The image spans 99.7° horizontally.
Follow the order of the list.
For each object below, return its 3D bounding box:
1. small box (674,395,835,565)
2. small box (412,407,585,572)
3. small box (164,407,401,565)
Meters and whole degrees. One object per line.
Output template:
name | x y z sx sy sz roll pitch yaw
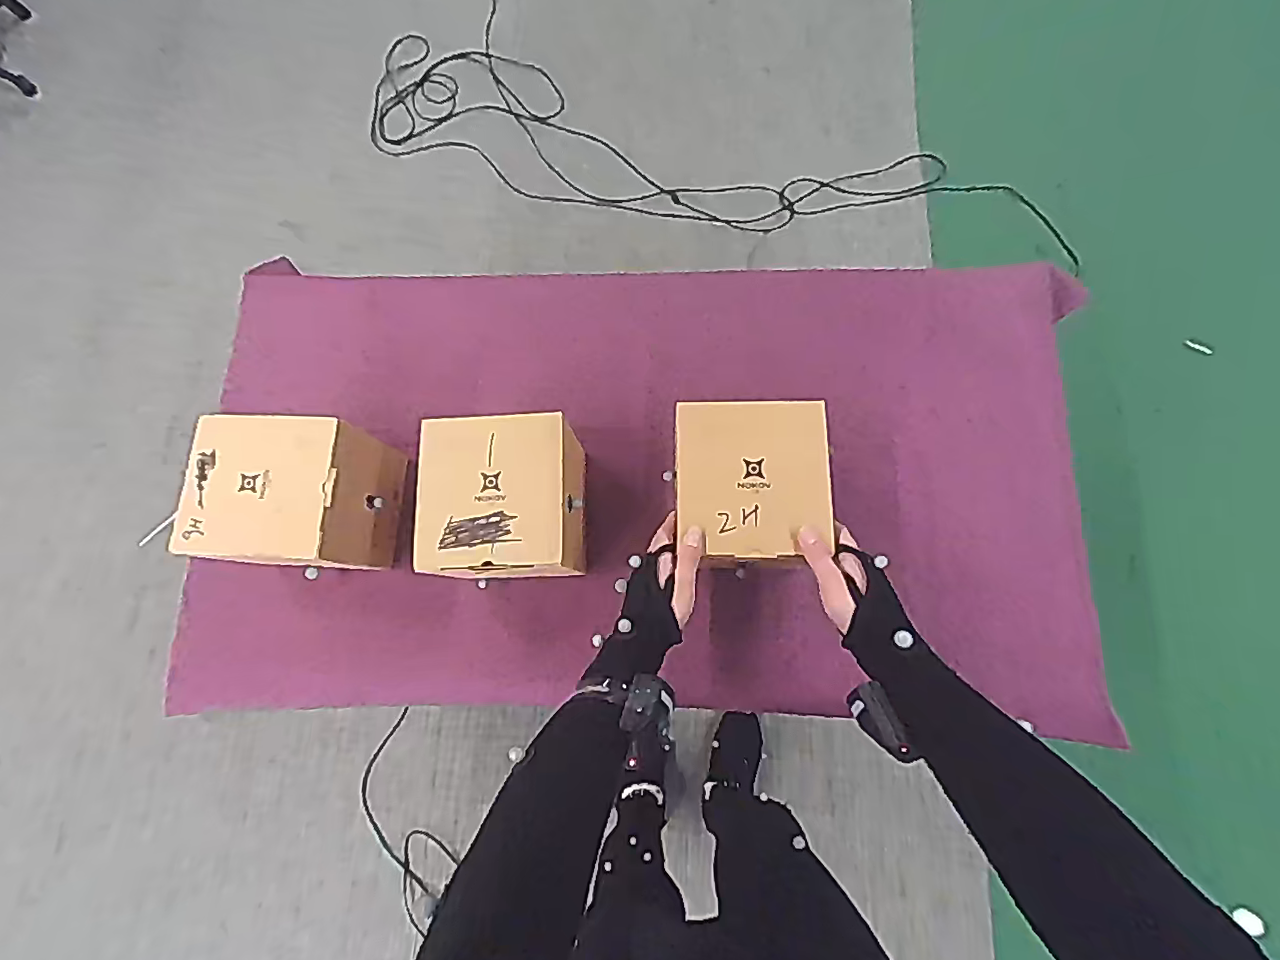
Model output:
small box | 0.126 0.009 0.658 0.168 0.176 0.179 0 78 3
small box | -0.161 0.023 0.668 0.168 0.176 0.179 -2 77 2
small box | -0.428 0.016 0.682 0.179 0.176 0.168 3 77 2
